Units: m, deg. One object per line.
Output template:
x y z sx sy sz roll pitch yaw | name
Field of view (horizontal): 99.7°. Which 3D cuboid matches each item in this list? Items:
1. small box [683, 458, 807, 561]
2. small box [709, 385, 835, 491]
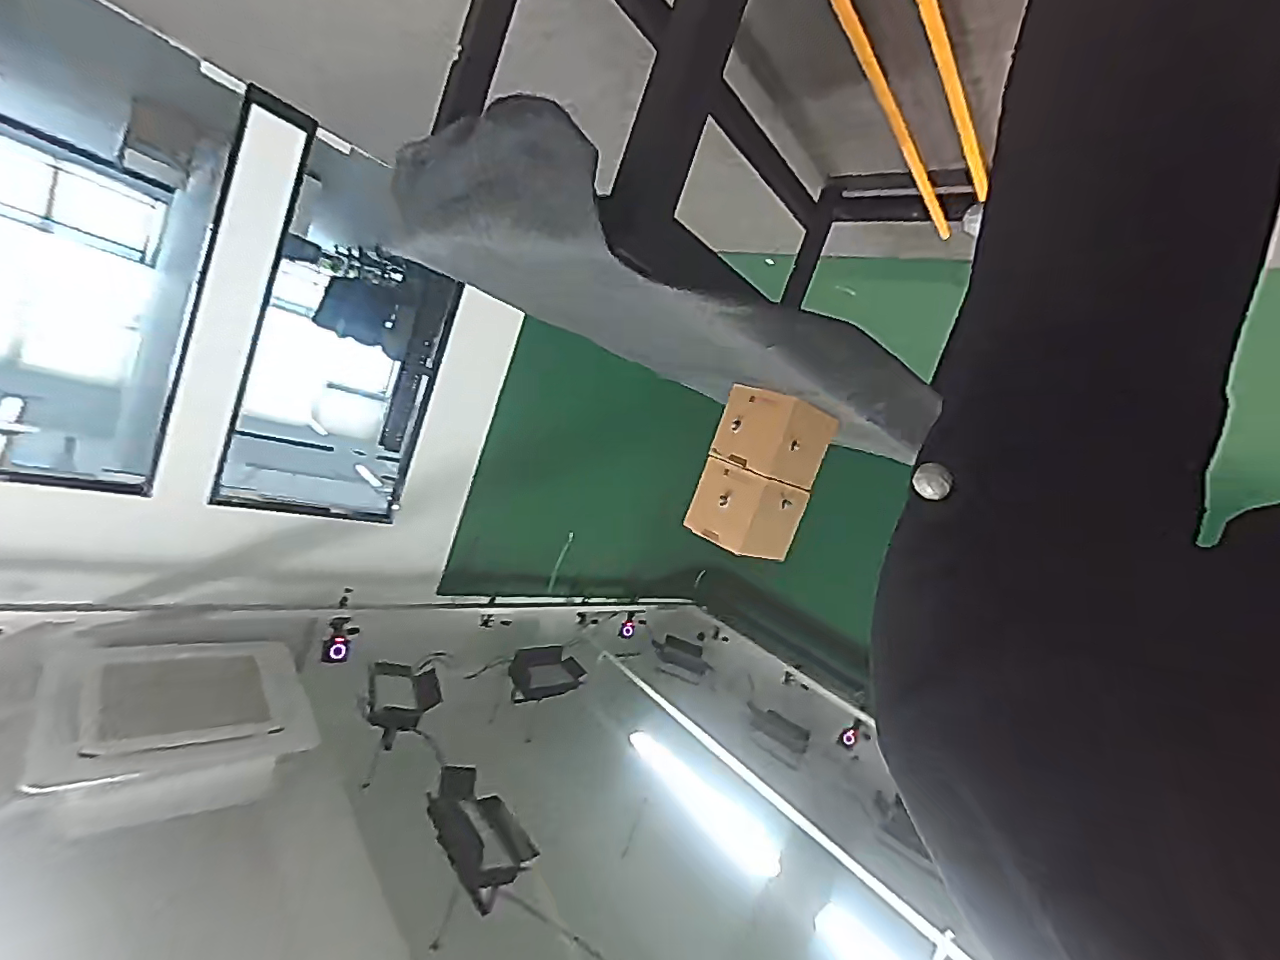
0.231 0.061 1.179 0.179 0.176 0.168 16 -172 -44 | small box
0.285 -0.093 1.159 0.179 0.176 0.168 14 -171 -43 | small box
